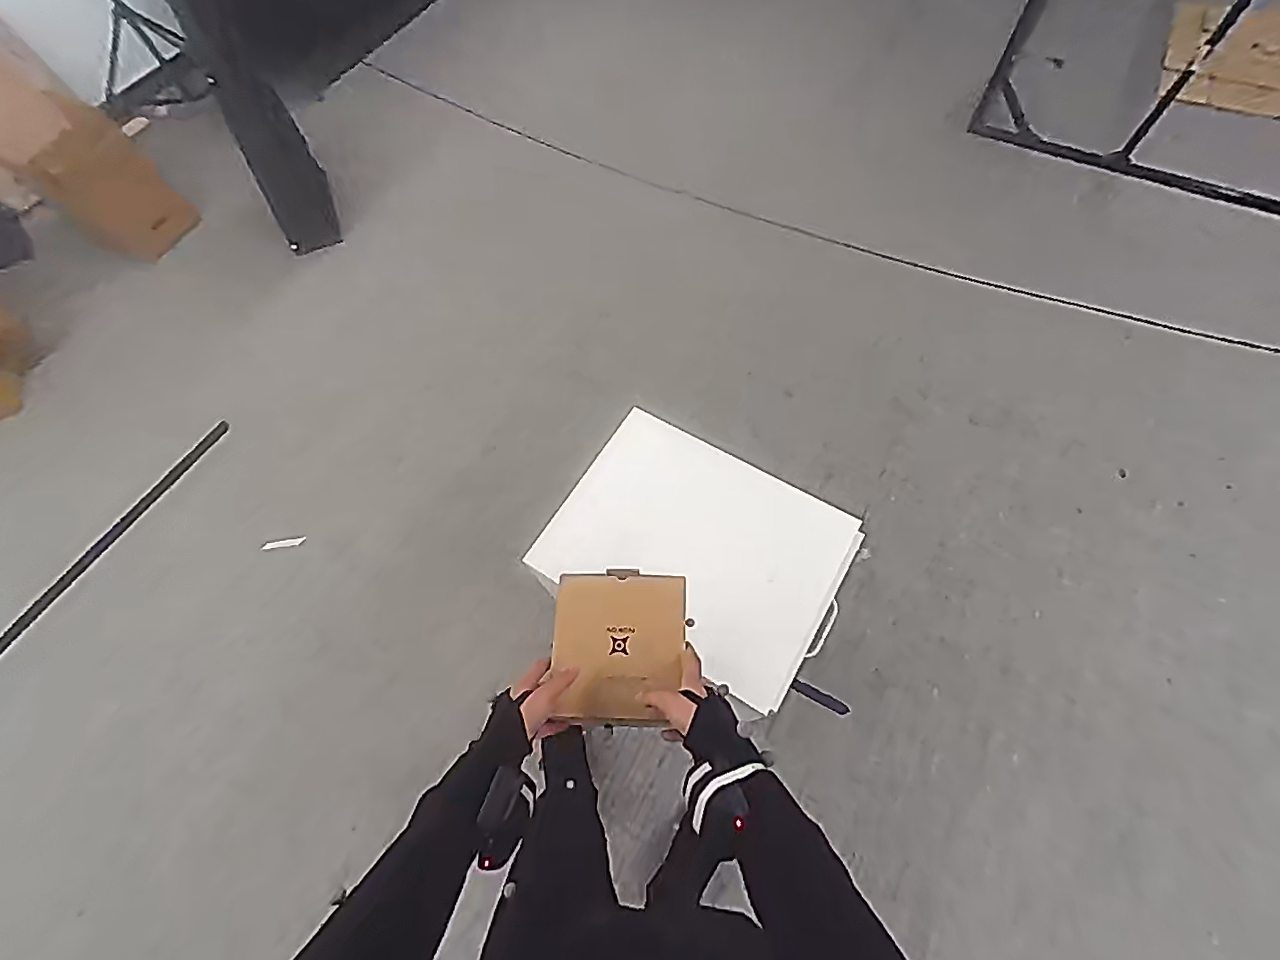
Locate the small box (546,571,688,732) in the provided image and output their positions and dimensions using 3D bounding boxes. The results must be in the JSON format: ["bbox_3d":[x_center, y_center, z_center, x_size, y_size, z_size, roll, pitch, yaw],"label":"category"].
[{"bbox_3d":[-0.024,0.237,0.733,0.168,0.176,0.179,2,62,2],"label":"small box"}]
